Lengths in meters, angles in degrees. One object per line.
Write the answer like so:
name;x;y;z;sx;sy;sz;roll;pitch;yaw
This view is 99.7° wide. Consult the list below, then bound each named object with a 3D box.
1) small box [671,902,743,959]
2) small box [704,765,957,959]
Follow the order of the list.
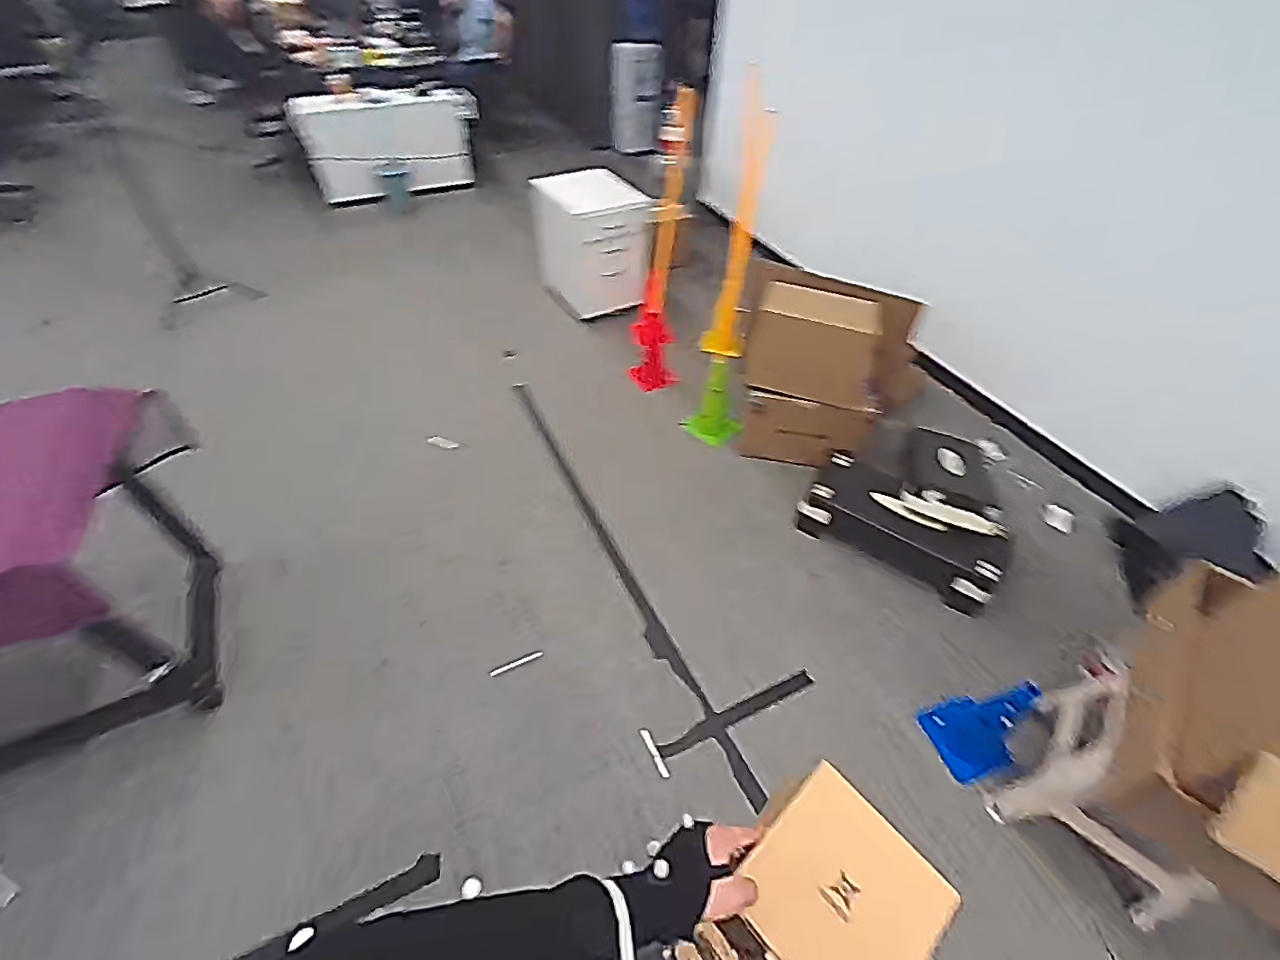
small box;0.176;1.014;1.171;0.179;0.176;0.168;-19;51;-20
small box;0.189;0.451;0.585;0.179;0.176;0.168;-35;62;-28
